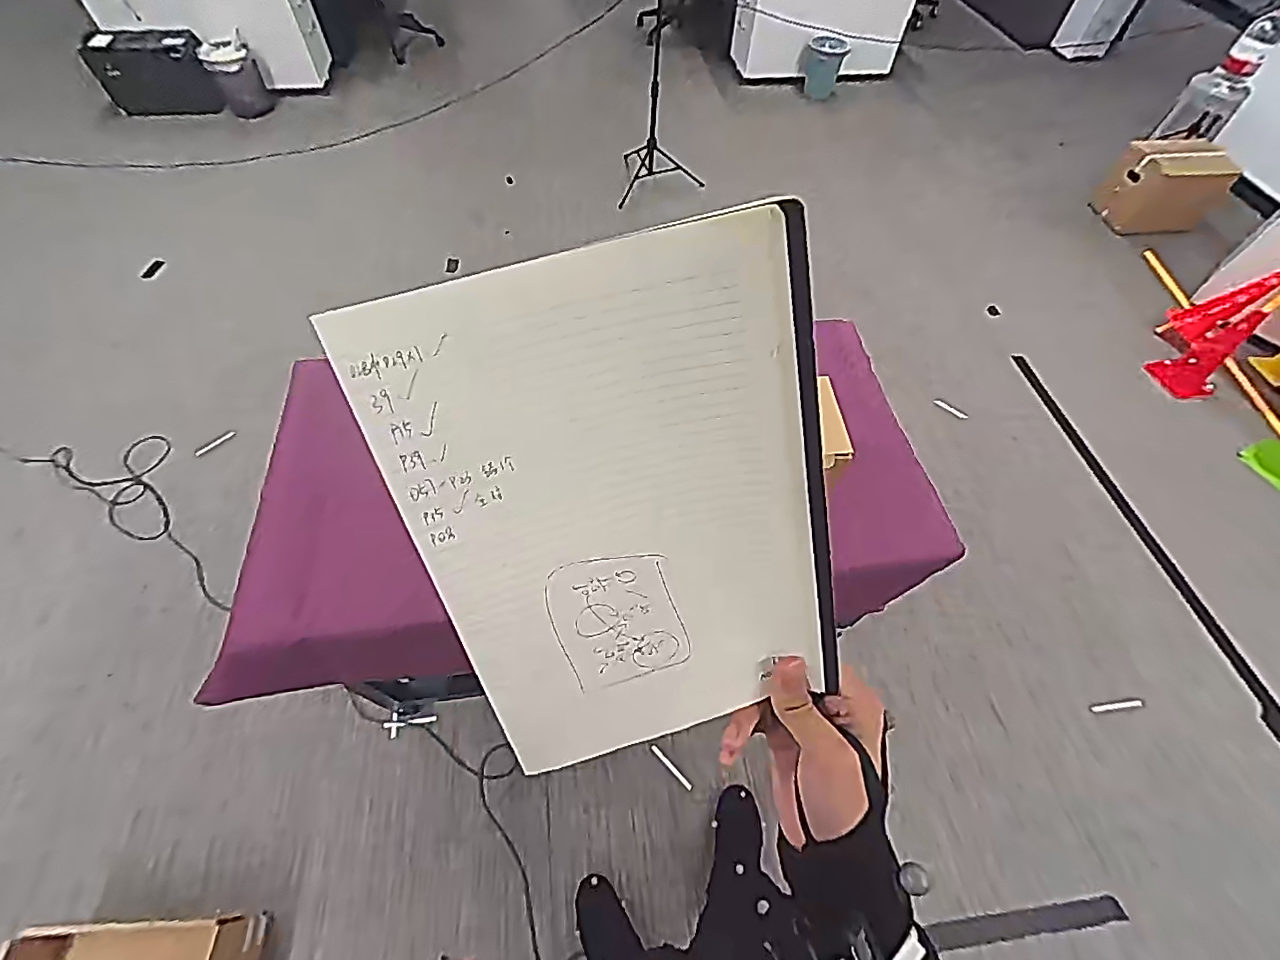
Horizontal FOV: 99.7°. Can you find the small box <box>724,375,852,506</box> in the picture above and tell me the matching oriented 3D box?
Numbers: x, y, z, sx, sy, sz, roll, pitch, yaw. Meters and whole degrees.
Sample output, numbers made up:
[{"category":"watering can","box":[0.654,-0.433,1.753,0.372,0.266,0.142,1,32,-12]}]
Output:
[{"category":"small box","box":[0.249,-0.064,0.956,0.168,0.176,0.179,0,56,-3]}]
